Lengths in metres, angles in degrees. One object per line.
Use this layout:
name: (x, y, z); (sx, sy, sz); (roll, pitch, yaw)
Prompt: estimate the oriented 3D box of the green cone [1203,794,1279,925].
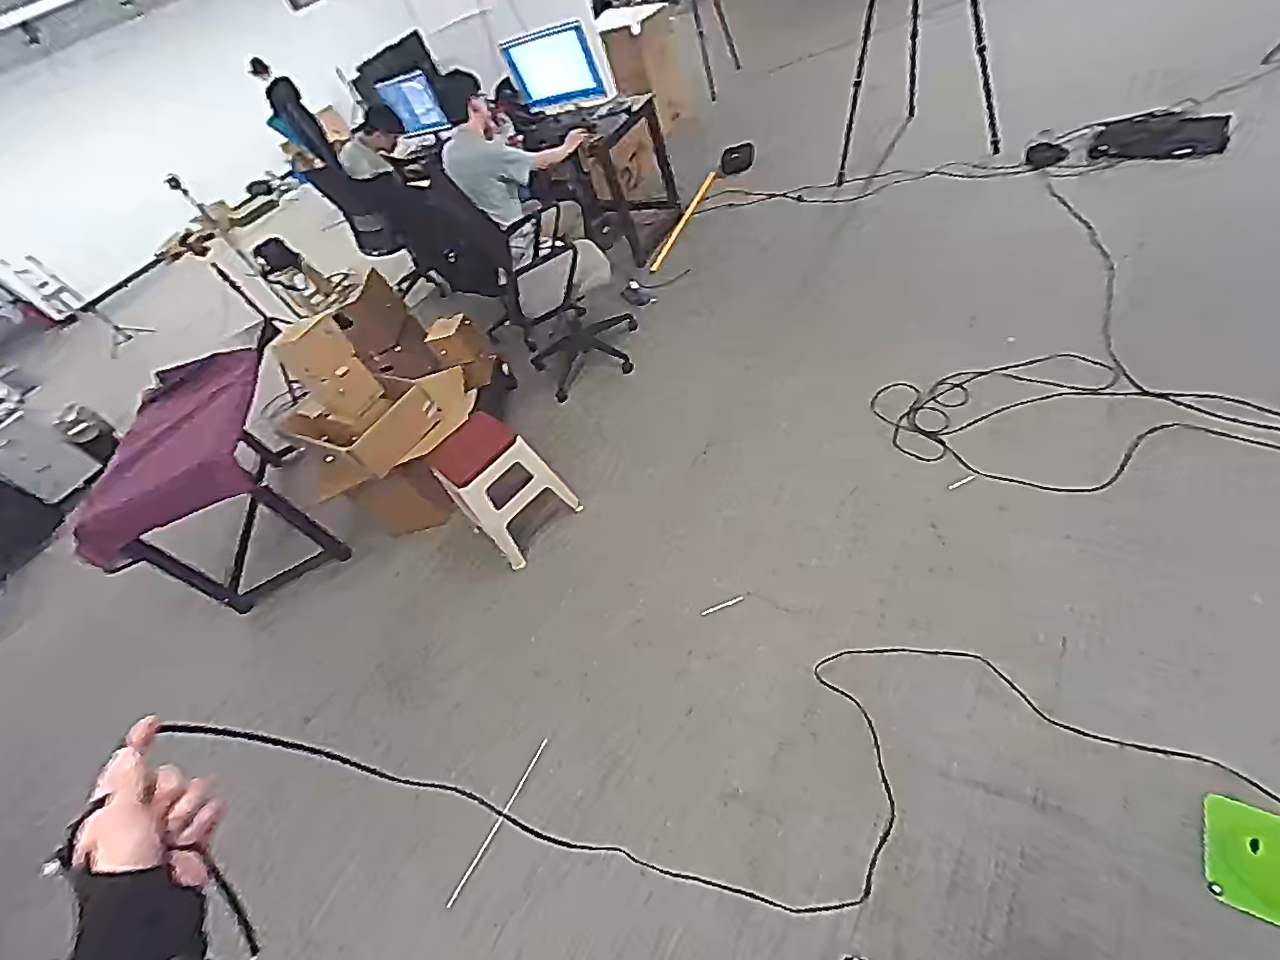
green cone: (1.167, 0.634, 0.916); (0.200, 0.368, 0.202); (12, 56, 32)
